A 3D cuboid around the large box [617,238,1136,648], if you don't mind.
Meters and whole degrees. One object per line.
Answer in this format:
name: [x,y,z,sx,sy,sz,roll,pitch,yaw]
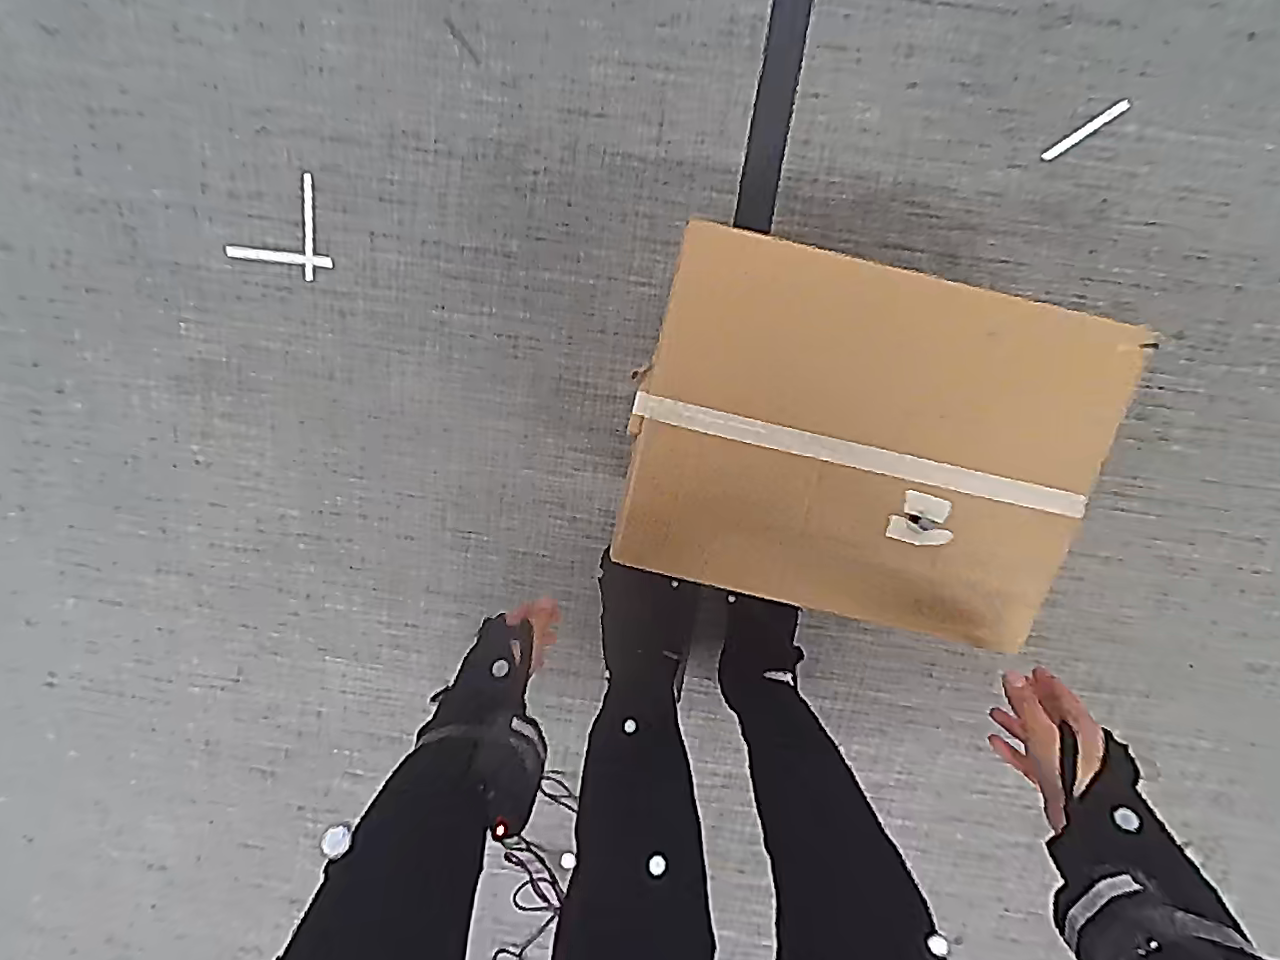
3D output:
large box: [0.202,-0.052,0.634,0.408,0.320,0.320,13,104,-2]
